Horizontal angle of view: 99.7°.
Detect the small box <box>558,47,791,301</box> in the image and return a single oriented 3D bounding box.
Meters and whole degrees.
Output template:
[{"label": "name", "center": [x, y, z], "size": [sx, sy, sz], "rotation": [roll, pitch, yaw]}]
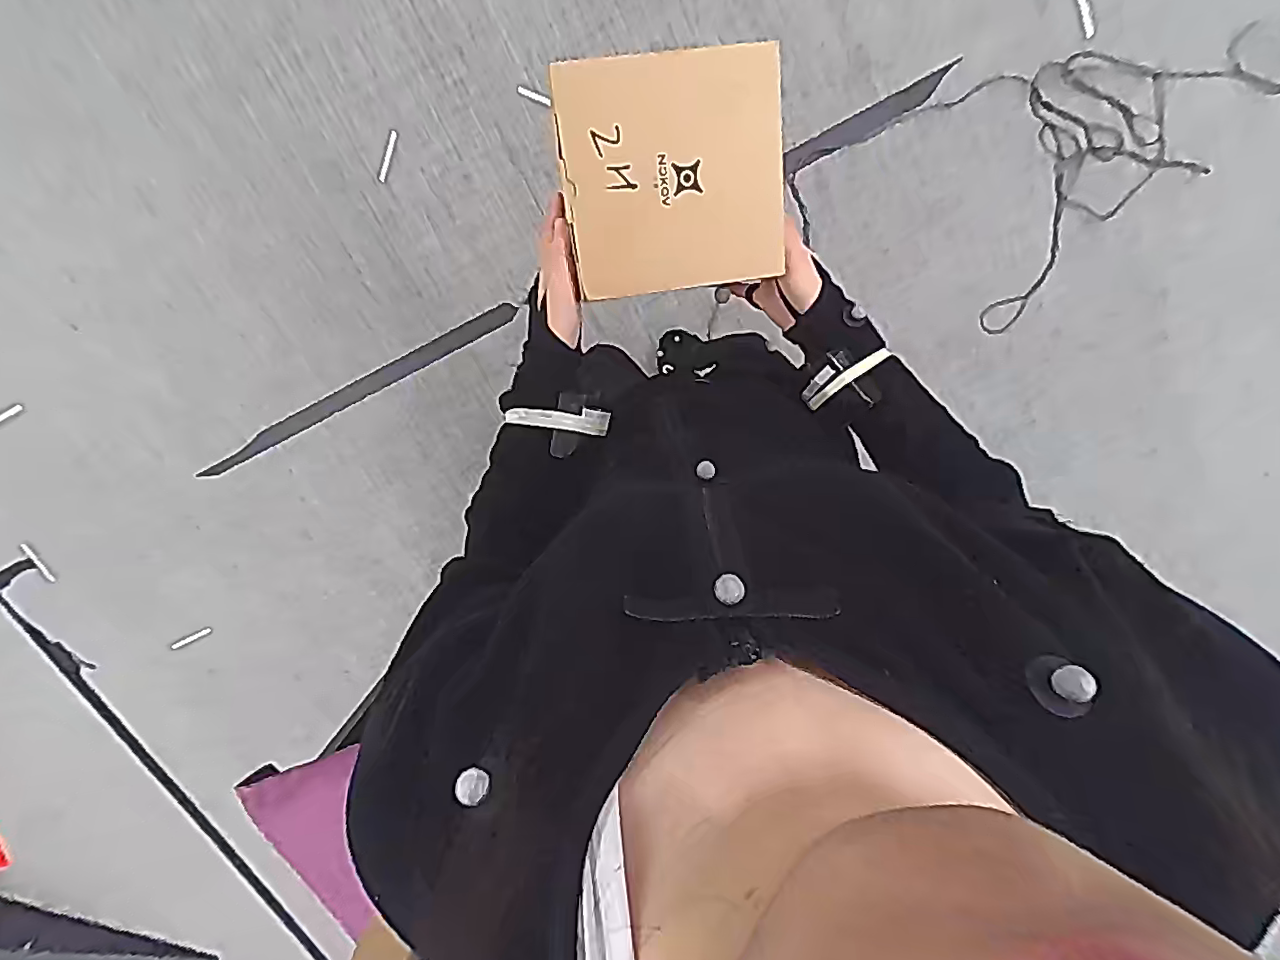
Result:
[{"label": "small box", "center": [0.022, -0.261, 0.495], "size": [0.179, 0.176, 0.168], "rotation": [-9, 110, -5]}]
